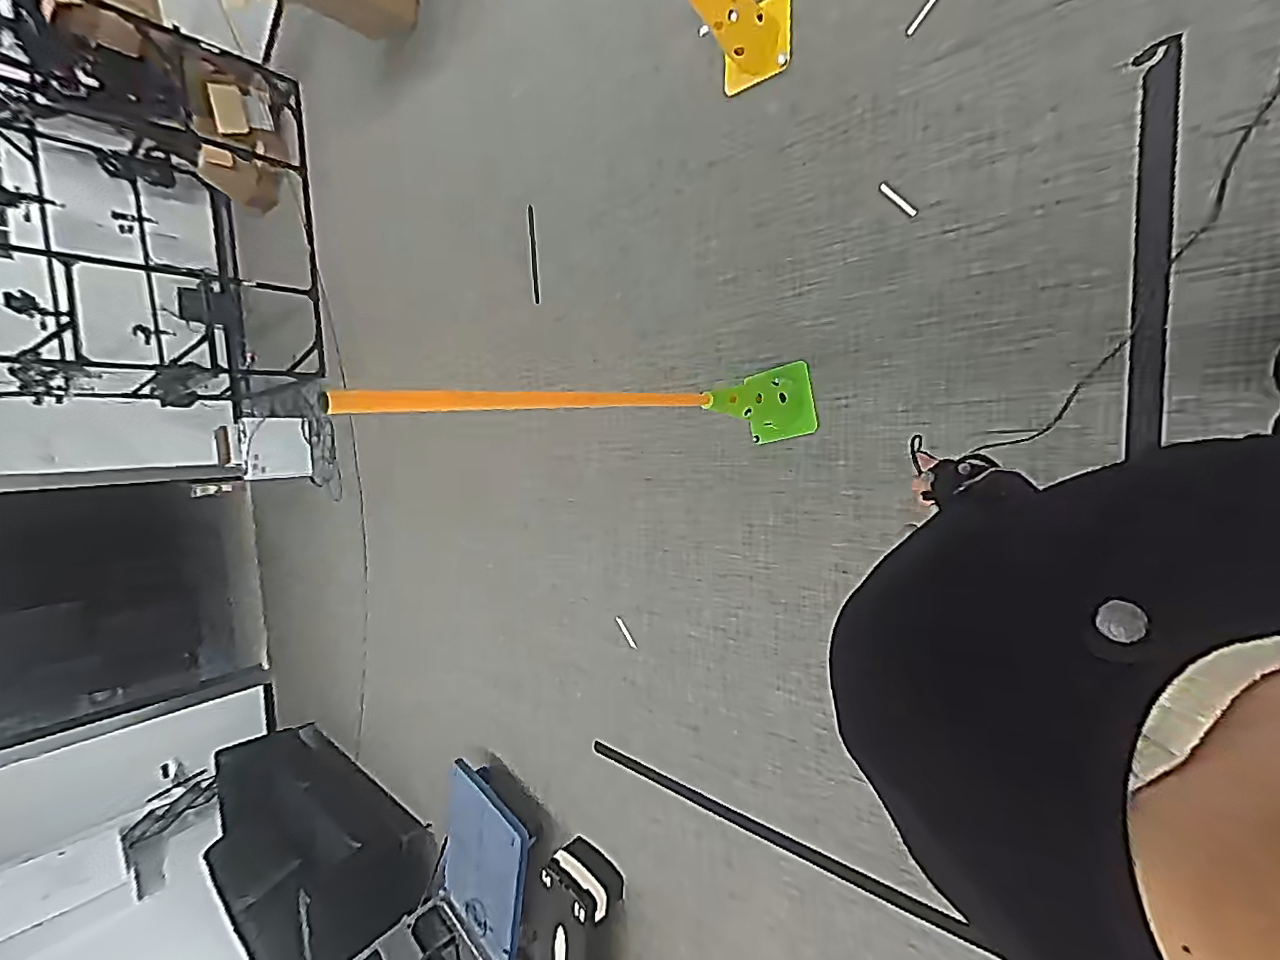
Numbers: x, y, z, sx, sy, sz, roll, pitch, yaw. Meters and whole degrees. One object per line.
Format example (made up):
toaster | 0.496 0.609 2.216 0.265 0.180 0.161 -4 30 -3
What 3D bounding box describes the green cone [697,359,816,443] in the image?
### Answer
green cone | 0.272 -0.206 1.378 0.200 0.368 0.202 -12 85 42
